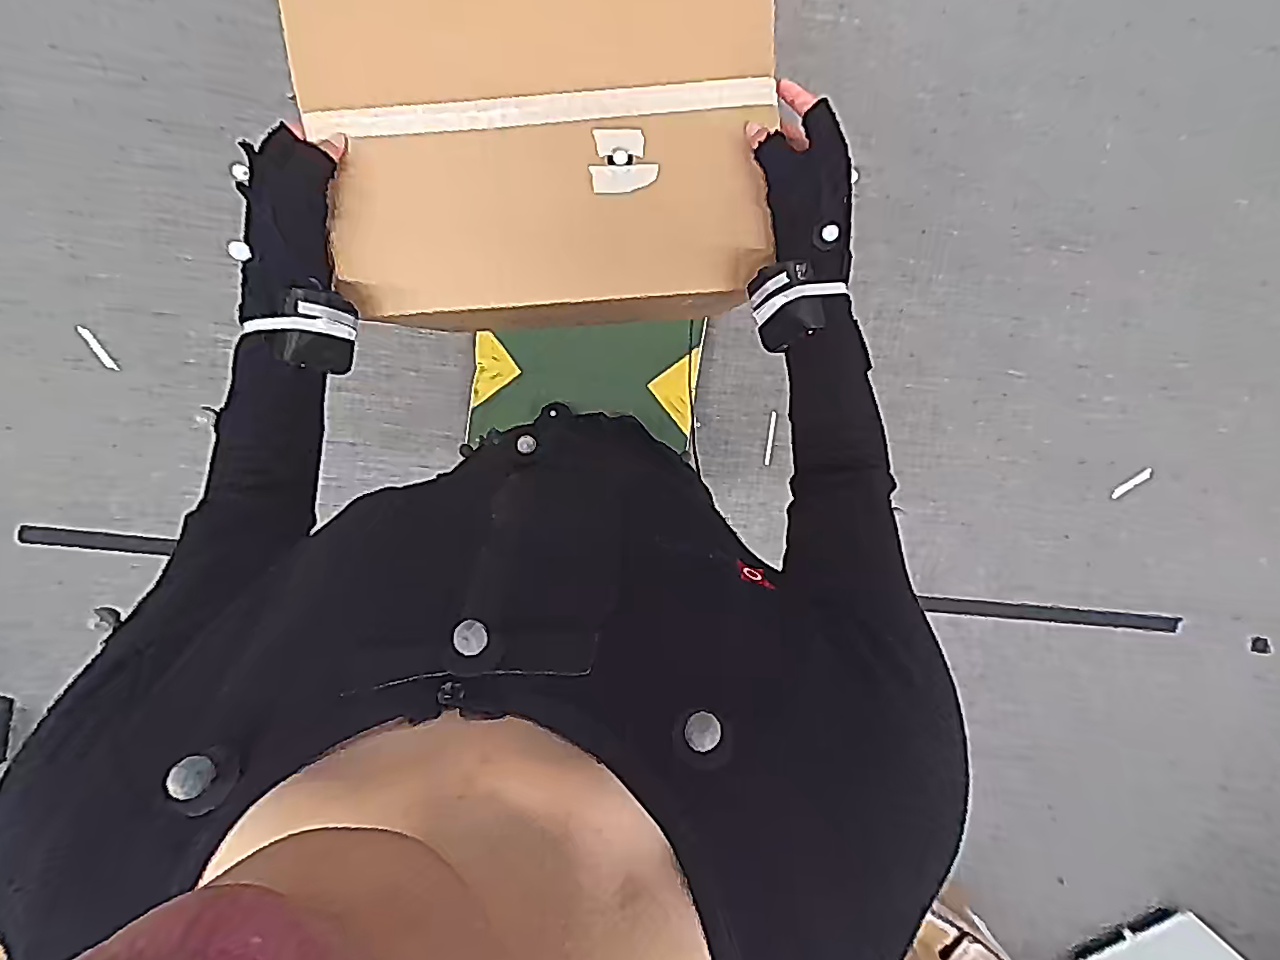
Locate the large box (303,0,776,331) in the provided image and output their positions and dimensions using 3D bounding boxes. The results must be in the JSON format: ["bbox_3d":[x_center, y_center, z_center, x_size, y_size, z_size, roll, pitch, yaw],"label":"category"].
[{"bbox_3d":[-0.086,-0.357,0.625,0.408,0.320,0.320,-4,103,-1],"label":"large box"}]
